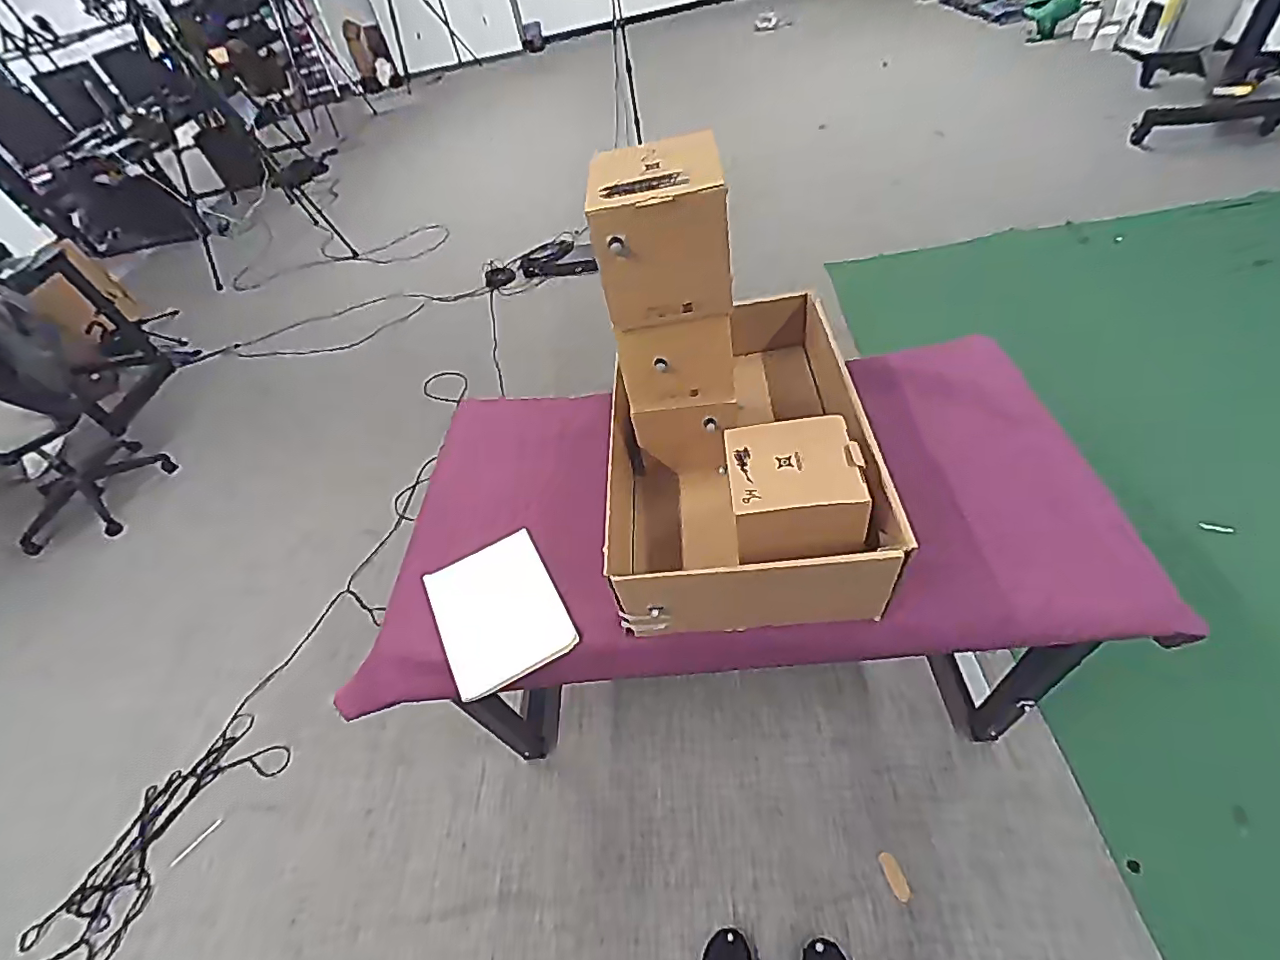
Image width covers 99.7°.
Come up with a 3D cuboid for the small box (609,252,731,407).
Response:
[{"bbox_3d":[0.053,-0.230,0.862,0.168,0.176,0.179,-5,50,9],"label":"small box"}]
